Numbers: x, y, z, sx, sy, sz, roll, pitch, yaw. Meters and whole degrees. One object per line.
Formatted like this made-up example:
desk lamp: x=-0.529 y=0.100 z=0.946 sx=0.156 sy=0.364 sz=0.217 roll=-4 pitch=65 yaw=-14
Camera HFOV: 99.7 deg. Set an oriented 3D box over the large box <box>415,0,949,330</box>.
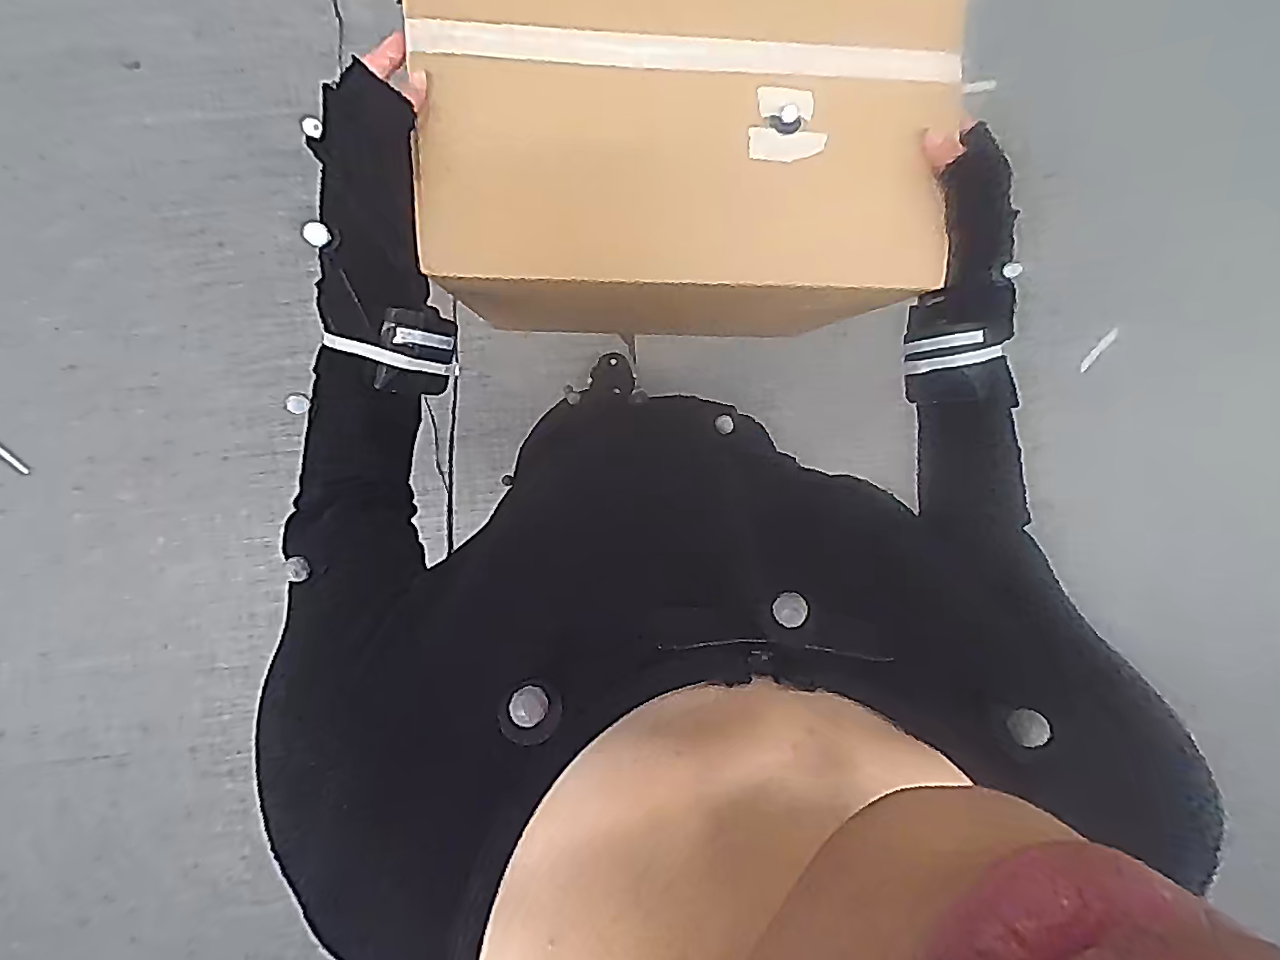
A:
large box: x=0.022 y=-0.335 z=0.549 sx=0.408 sy=0.320 sz=0.320 roll=-1 pitch=98 yaw=-6
